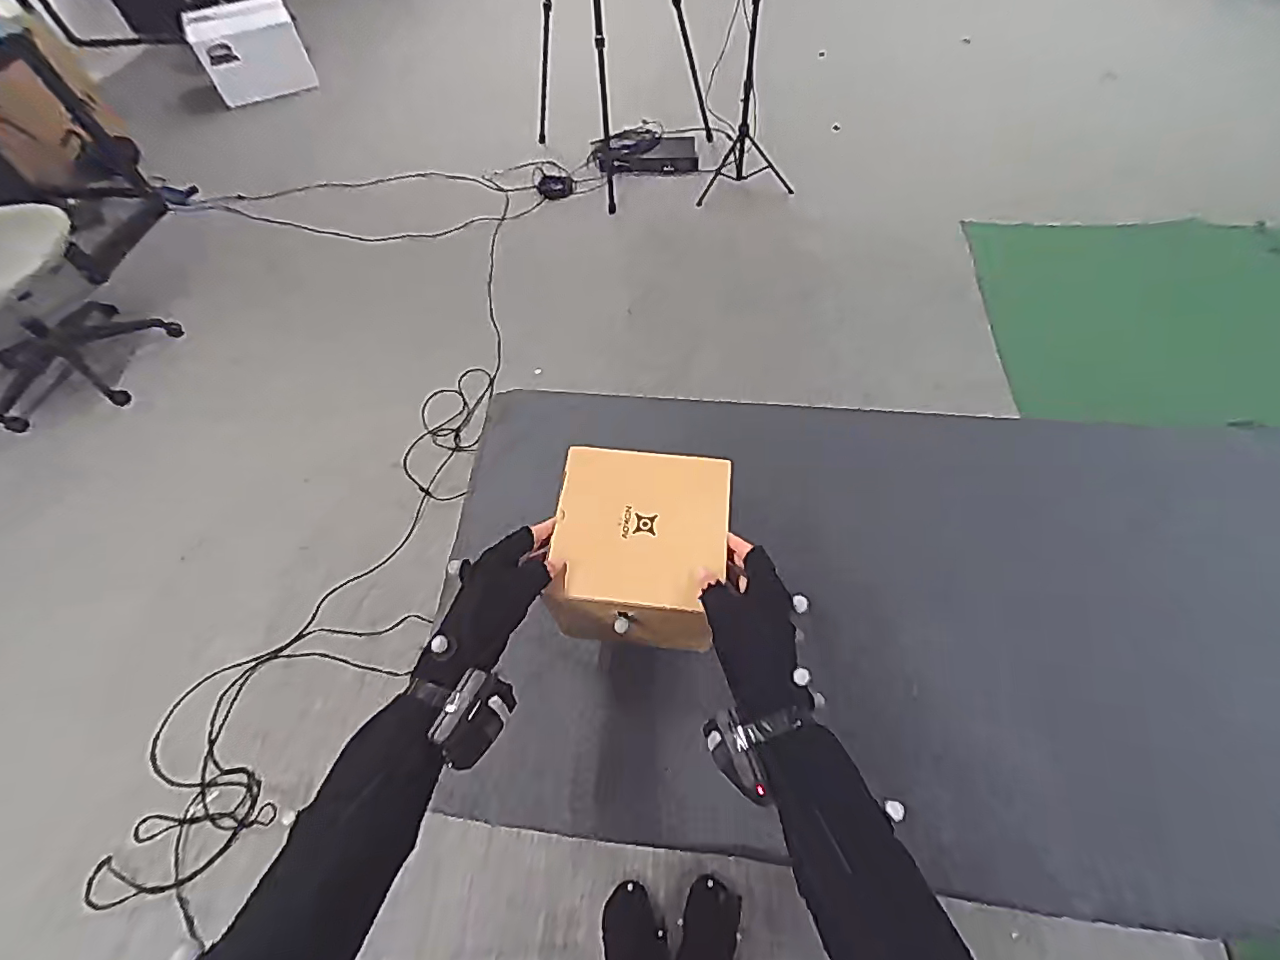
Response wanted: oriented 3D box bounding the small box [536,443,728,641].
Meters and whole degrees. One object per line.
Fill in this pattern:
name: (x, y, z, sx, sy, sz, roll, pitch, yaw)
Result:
small box: (-0.001, 0.077, 0.608, 0.179, 0.176, 0.168, 5, 61, 5)
